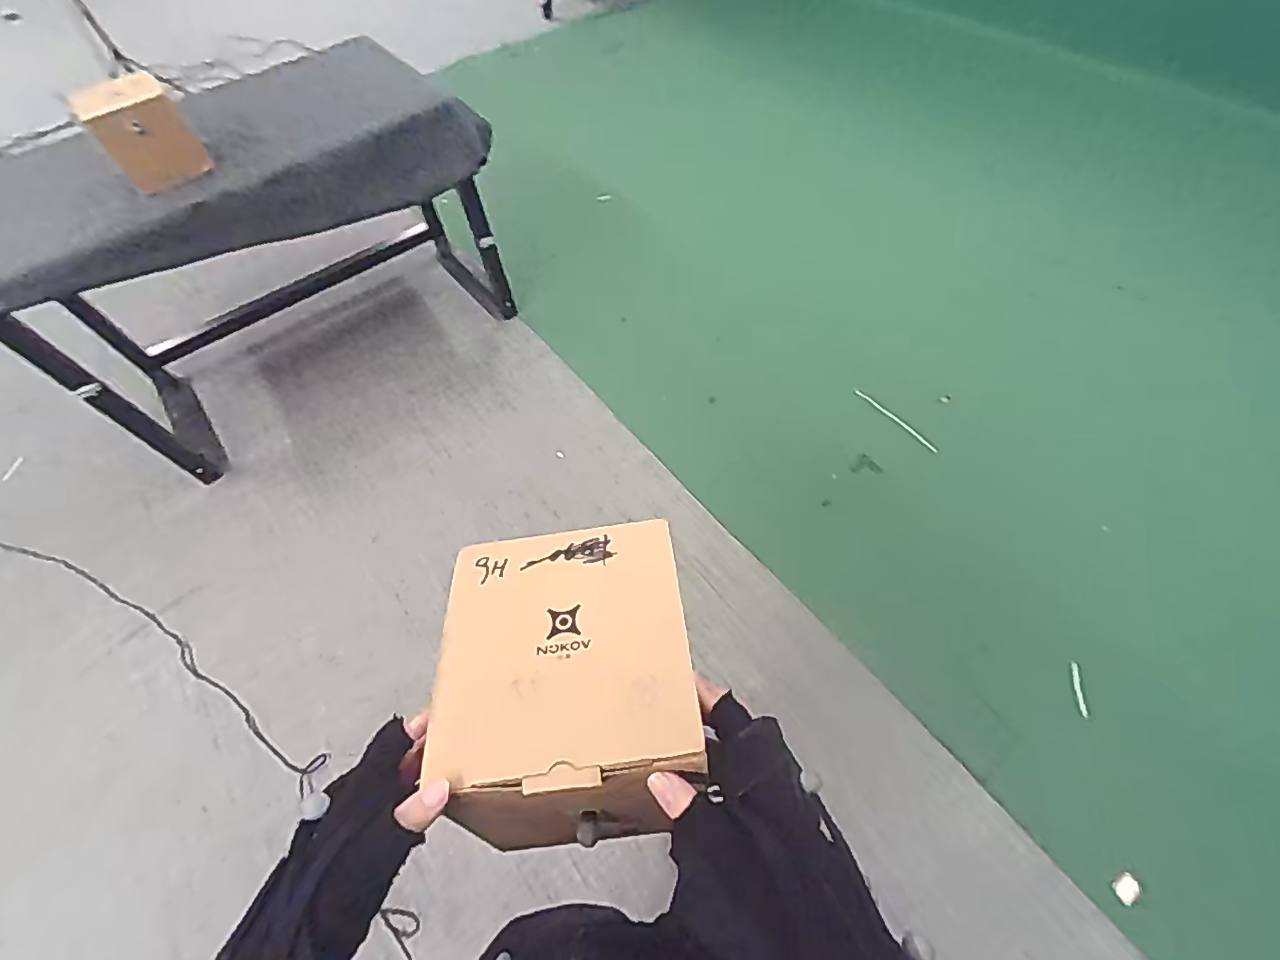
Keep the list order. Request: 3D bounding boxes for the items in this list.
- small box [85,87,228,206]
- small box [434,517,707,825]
[{"bbox_3d":[-1.136,-0.785,1.281,0.179,0.176,0.168,-36,63,-18],"label":"small box"},{"bbox_3d":[-0.042,0.158,0.432,0.168,0.176,0.179,-9,47,0],"label":"small box"}]
